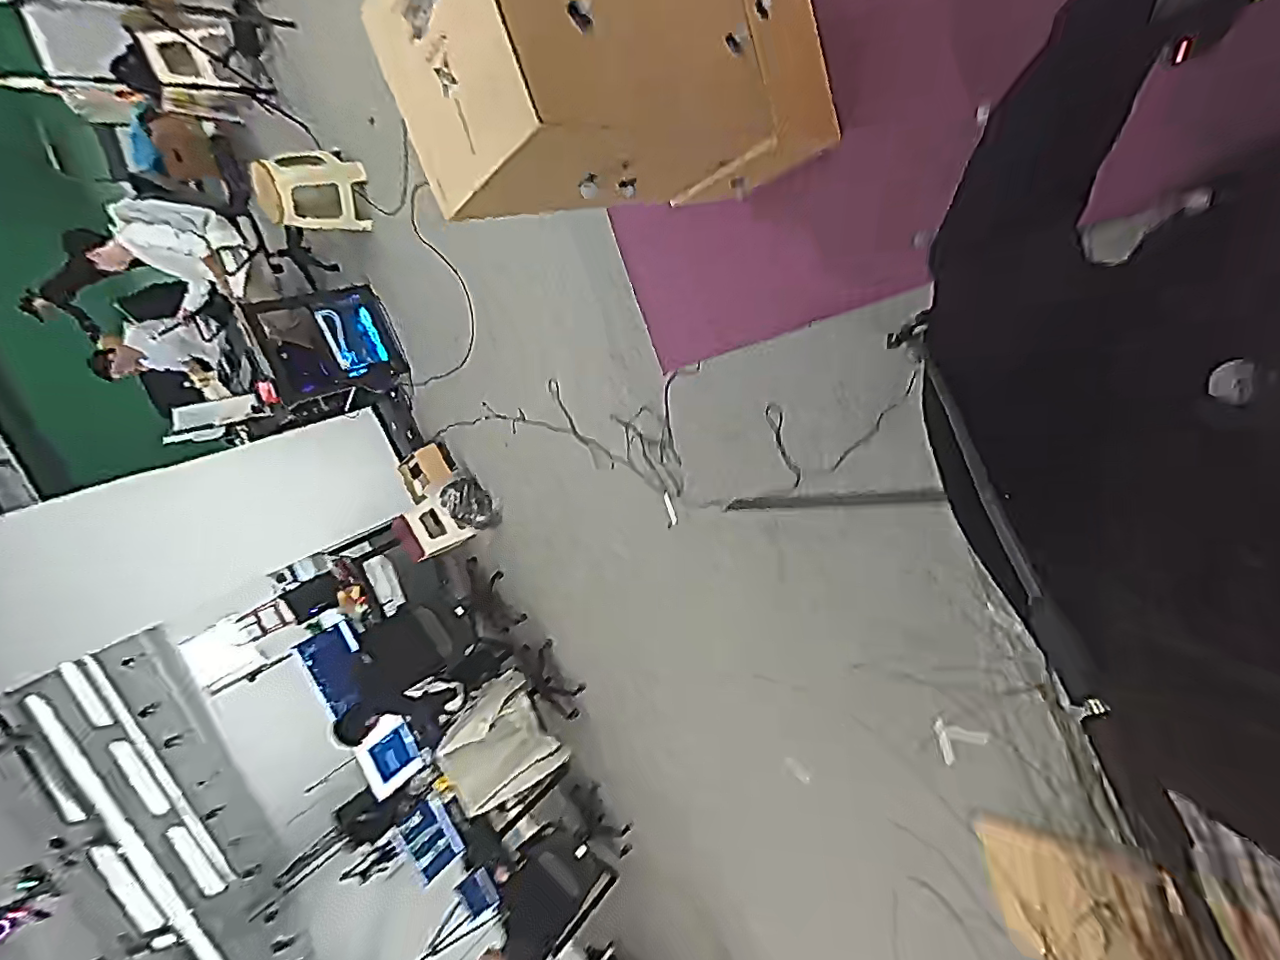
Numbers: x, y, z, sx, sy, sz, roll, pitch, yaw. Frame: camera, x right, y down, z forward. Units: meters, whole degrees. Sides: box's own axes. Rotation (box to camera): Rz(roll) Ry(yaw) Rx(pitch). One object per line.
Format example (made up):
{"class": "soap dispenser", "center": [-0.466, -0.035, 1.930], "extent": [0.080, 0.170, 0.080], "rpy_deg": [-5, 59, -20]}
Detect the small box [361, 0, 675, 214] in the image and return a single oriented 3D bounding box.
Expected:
{"class": "small box", "center": [-0.098, -0.353, 0.465], "extent": [0.168, 0.176, 0.179], "rpy_deg": [-5, 110, 48]}

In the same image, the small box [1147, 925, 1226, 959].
{"class": "small box", "center": [1.515, 1.395, 1.490], "extent": [0.168, 0.176, 0.179], "rpy_deg": [-3, 111, 49]}

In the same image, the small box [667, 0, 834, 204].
{"class": "small box", "center": [0.120, -0.475, 0.679], "extent": [0.168, 0.176, 0.179], "rpy_deg": [-5, 109, 48]}

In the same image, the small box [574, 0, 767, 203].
{"class": "small box", "center": [0.008, -0.418, 0.573], "extent": [0.168, 0.176, 0.179], "rpy_deg": [-6, 108, 48]}
